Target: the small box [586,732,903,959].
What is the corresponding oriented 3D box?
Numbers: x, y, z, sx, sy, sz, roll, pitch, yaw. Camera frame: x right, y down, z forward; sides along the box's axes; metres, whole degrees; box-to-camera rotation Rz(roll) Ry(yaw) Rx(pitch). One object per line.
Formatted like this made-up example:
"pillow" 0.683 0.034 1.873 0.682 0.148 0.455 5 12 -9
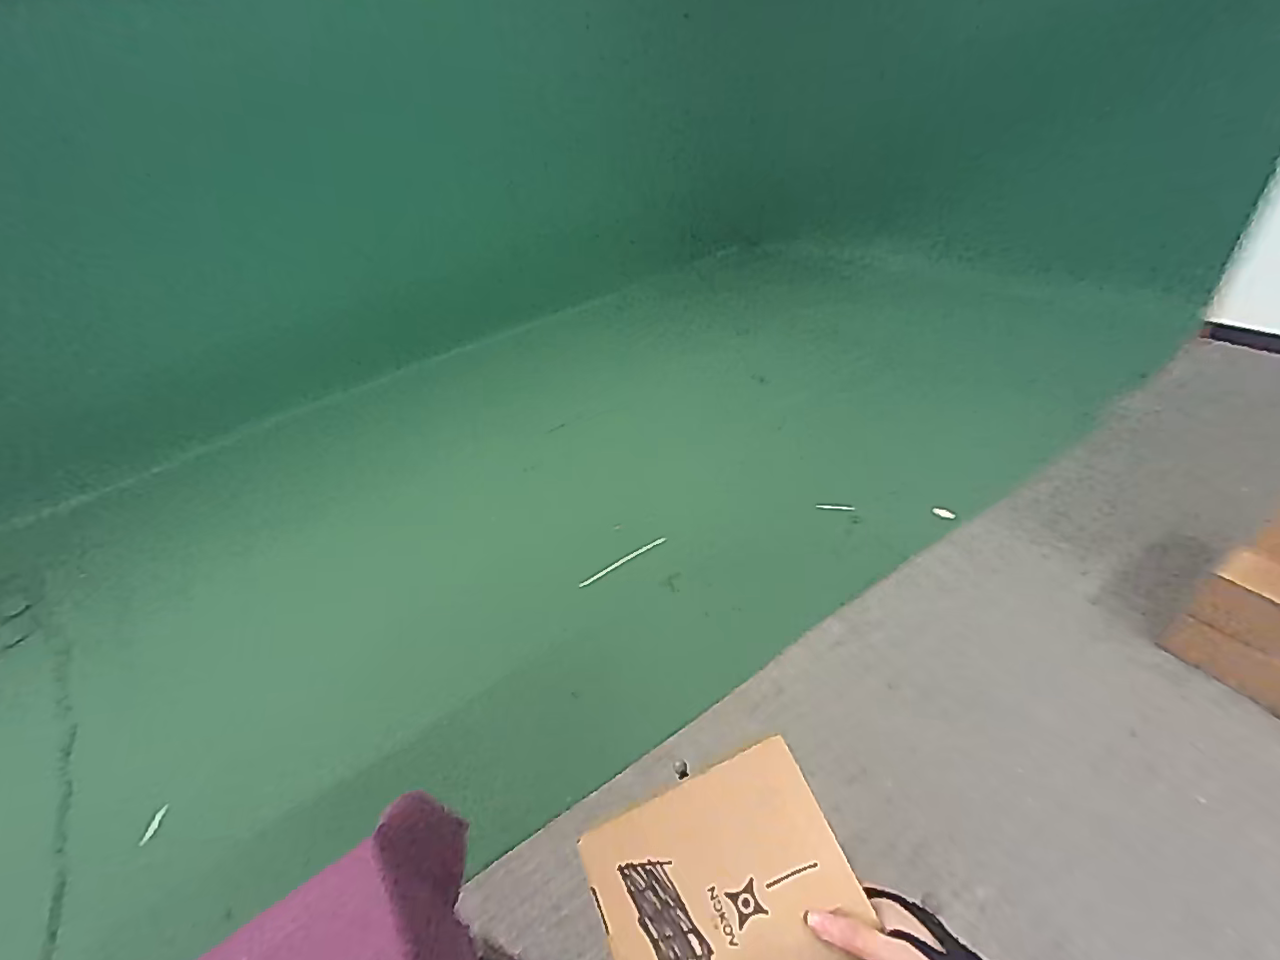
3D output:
"small box" 0.071 0.331 0.447 0.179 0.176 0.168 -21 64 -10
